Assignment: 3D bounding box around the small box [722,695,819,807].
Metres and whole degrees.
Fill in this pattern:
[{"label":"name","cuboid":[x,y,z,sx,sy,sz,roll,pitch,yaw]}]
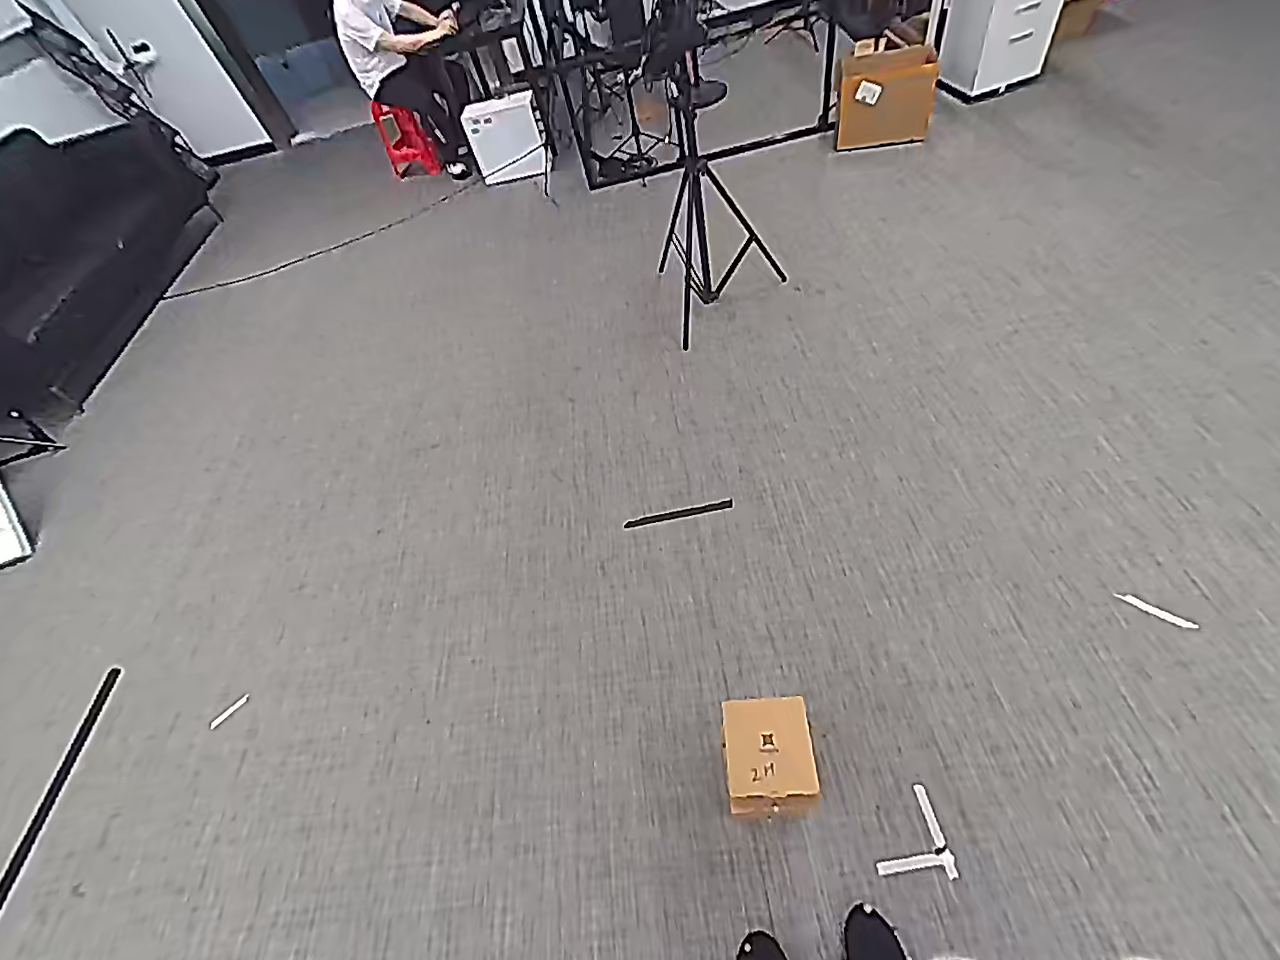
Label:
[{"label":"small box","cuboid":[0.262,0.556,1.105,0.168,0.176,0.179,-8,53,10]}]
